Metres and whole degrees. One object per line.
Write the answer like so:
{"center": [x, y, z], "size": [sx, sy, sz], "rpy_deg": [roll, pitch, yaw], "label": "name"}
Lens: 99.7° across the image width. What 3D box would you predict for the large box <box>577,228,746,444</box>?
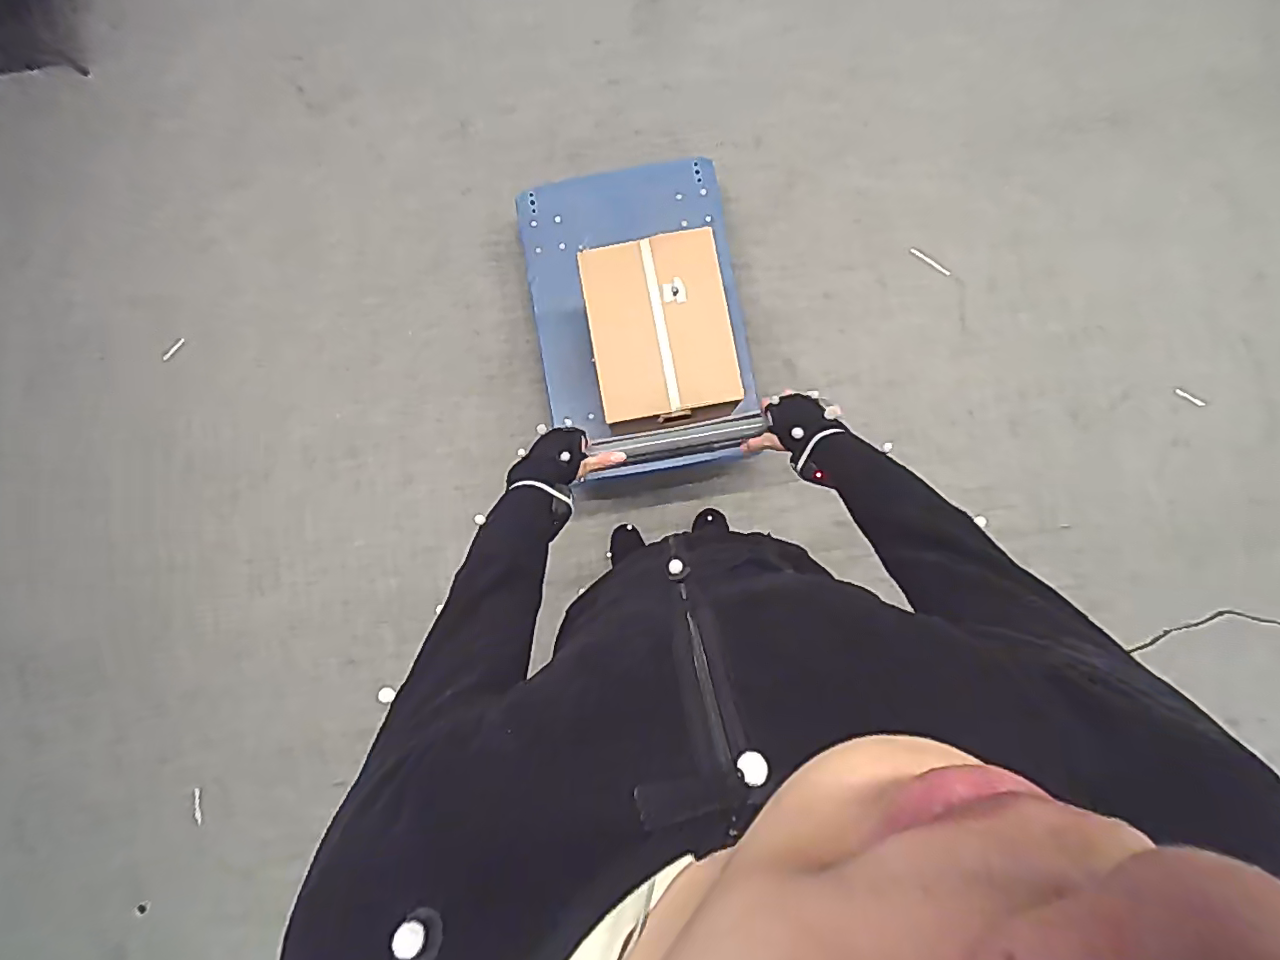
{"center": [0.050, -0.330, 1.340], "size": [0.320, 0.320, 0.408], "rpy_deg": [-10, 85, 0], "label": "large box"}
